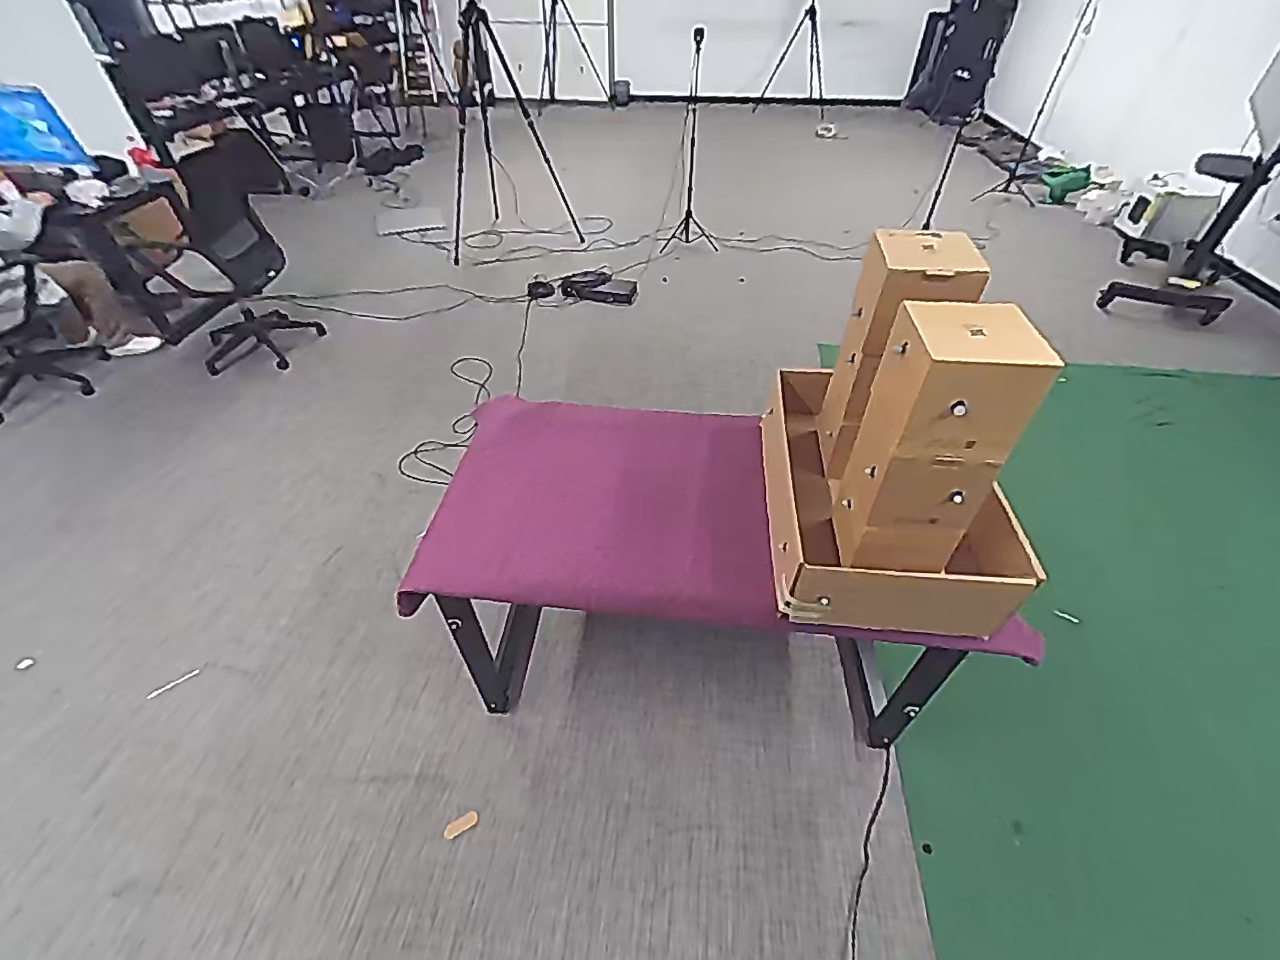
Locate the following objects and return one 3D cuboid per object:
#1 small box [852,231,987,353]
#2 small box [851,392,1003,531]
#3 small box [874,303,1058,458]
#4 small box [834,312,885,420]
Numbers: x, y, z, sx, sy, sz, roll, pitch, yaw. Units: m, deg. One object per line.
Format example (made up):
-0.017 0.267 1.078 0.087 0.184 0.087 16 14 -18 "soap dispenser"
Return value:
0.510 -0.345 1.014 0.168 0.176 0.179 6 47 7 "small box"
0.475 -0.031 0.928 0.168 0.176 0.179 4 43 6 "small box"
0.473 -0.150 0.818 0.168 0.176 0.179 4 43 6 "small box"
0.515 -0.231 1.131 0.168 0.176 0.179 6 46 6 "small box"
